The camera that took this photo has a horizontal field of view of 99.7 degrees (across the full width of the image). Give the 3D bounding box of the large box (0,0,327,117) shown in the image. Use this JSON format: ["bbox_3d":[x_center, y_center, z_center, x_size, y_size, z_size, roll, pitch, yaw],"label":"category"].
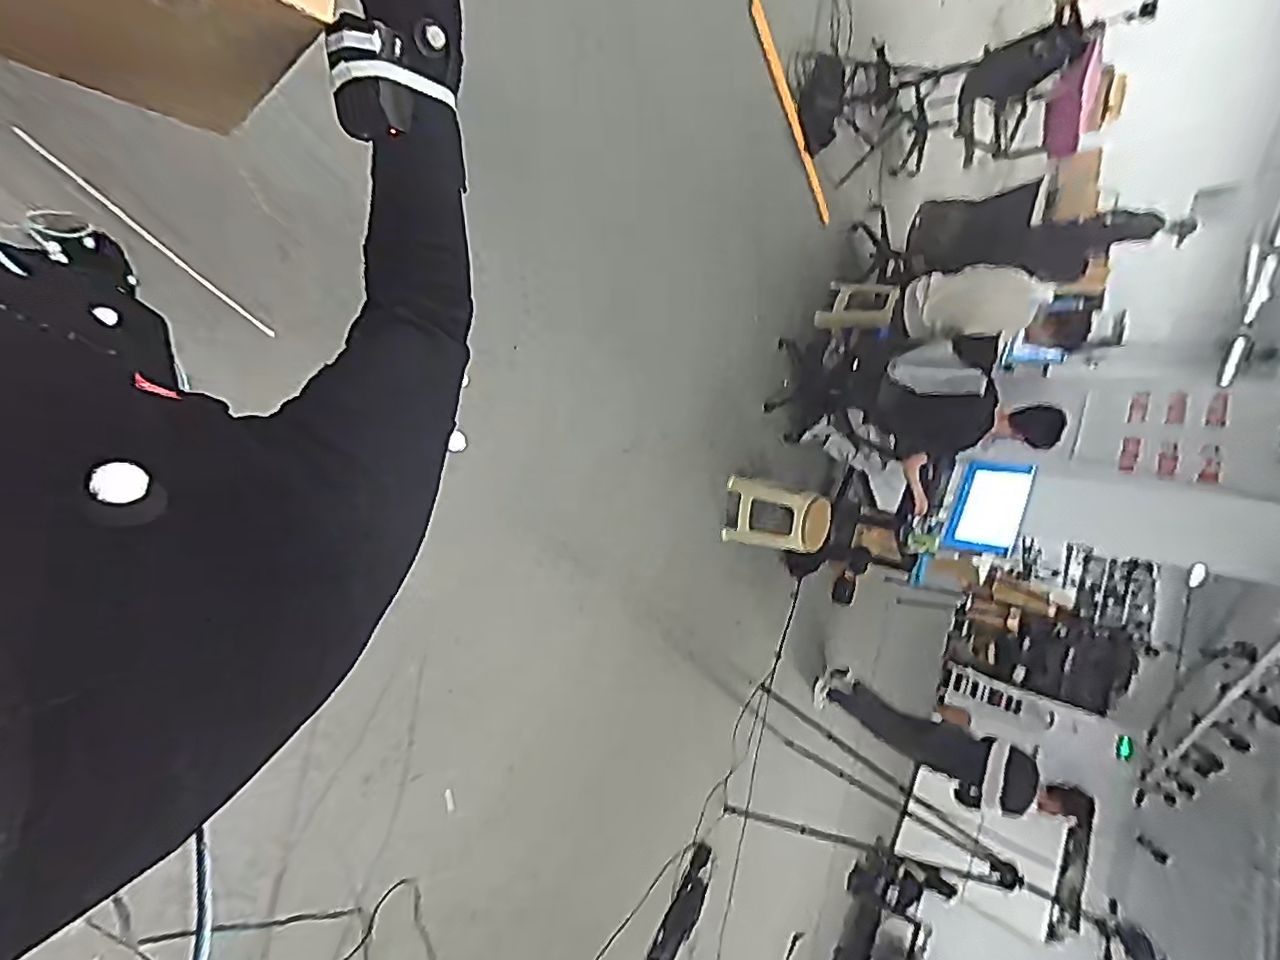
[{"bbox_3d":[-0.430,-0.475,0.285,0.408,0.320,0.320,-3,104,-46],"label":"large box"}]
